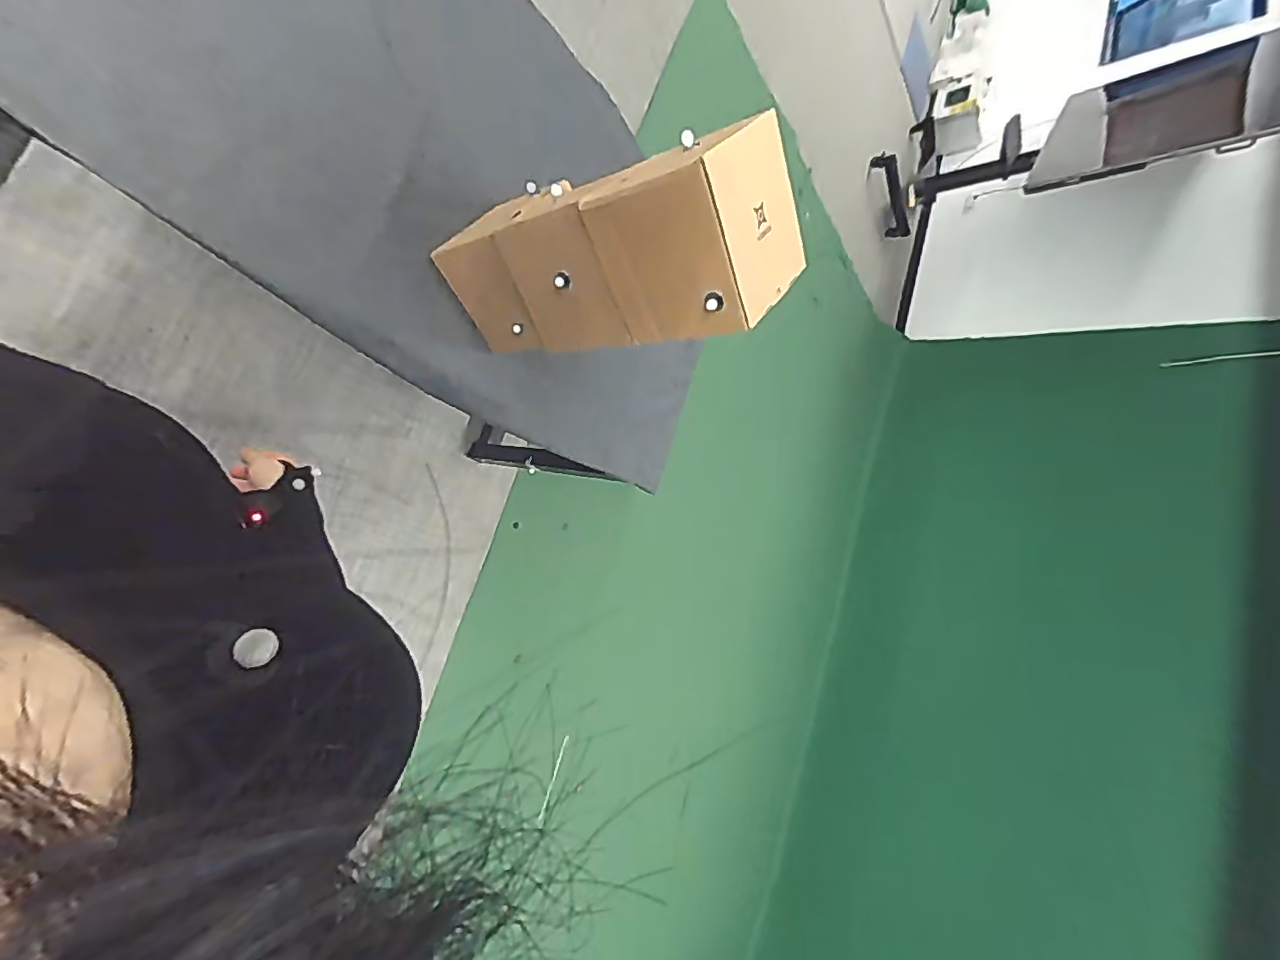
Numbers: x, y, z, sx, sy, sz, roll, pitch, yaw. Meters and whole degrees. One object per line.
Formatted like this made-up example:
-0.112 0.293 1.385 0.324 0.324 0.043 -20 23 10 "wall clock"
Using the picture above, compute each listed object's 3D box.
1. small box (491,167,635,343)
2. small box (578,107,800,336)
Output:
-0.062 -0.296 0.725 0.168 0.176 0.179 -48 128 -34 "small box"
0.059 -0.282 0.617 0.168 0.176 0.179 -50 131 -33 "small box"
